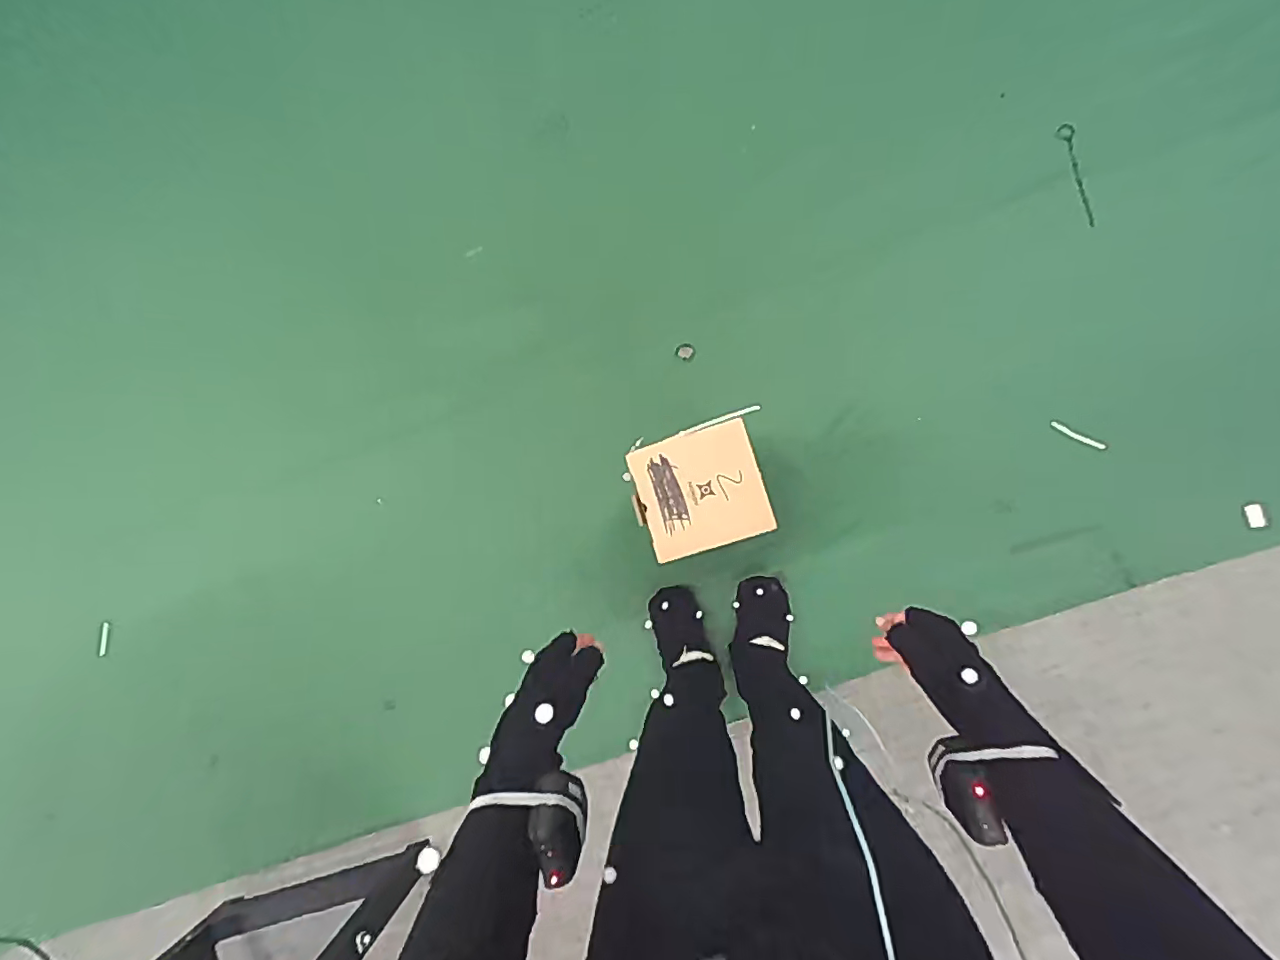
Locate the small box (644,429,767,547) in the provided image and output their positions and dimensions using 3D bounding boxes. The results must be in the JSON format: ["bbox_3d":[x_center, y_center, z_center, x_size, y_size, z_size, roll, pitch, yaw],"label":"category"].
[{"bbox_3d":[0.118,0.013,0.999,0.179,0.176,0.168,-17,87,6],"label":"small box"}]
